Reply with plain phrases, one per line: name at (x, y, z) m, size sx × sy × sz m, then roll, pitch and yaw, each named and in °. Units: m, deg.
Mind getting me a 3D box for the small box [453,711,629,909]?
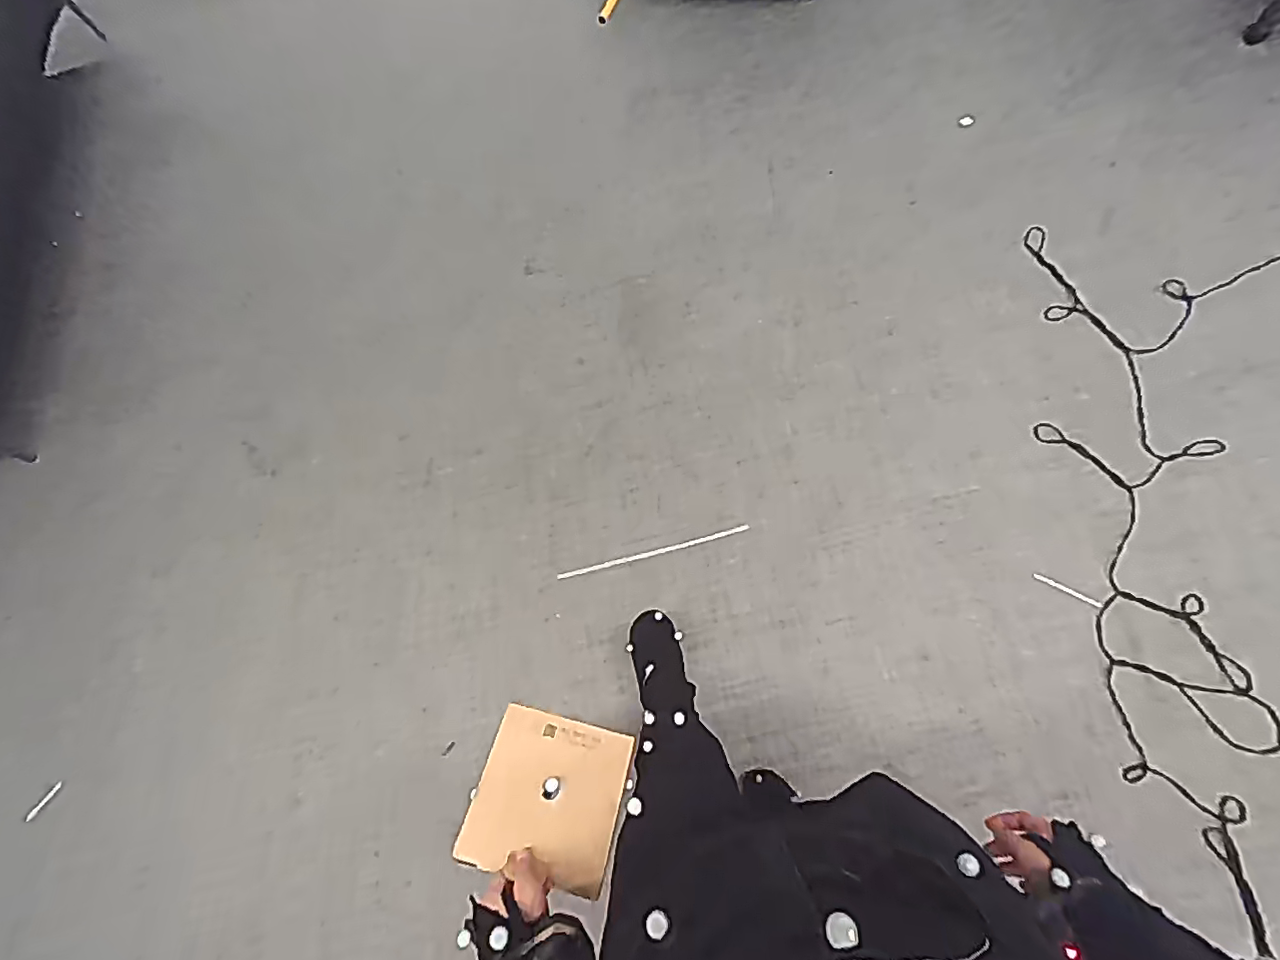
small box at (-0.117, 0.417, 0.688) m, size 0.168 × 0.179 × 0.176 m, roll 16°, pitch 49°, yaw 2°
